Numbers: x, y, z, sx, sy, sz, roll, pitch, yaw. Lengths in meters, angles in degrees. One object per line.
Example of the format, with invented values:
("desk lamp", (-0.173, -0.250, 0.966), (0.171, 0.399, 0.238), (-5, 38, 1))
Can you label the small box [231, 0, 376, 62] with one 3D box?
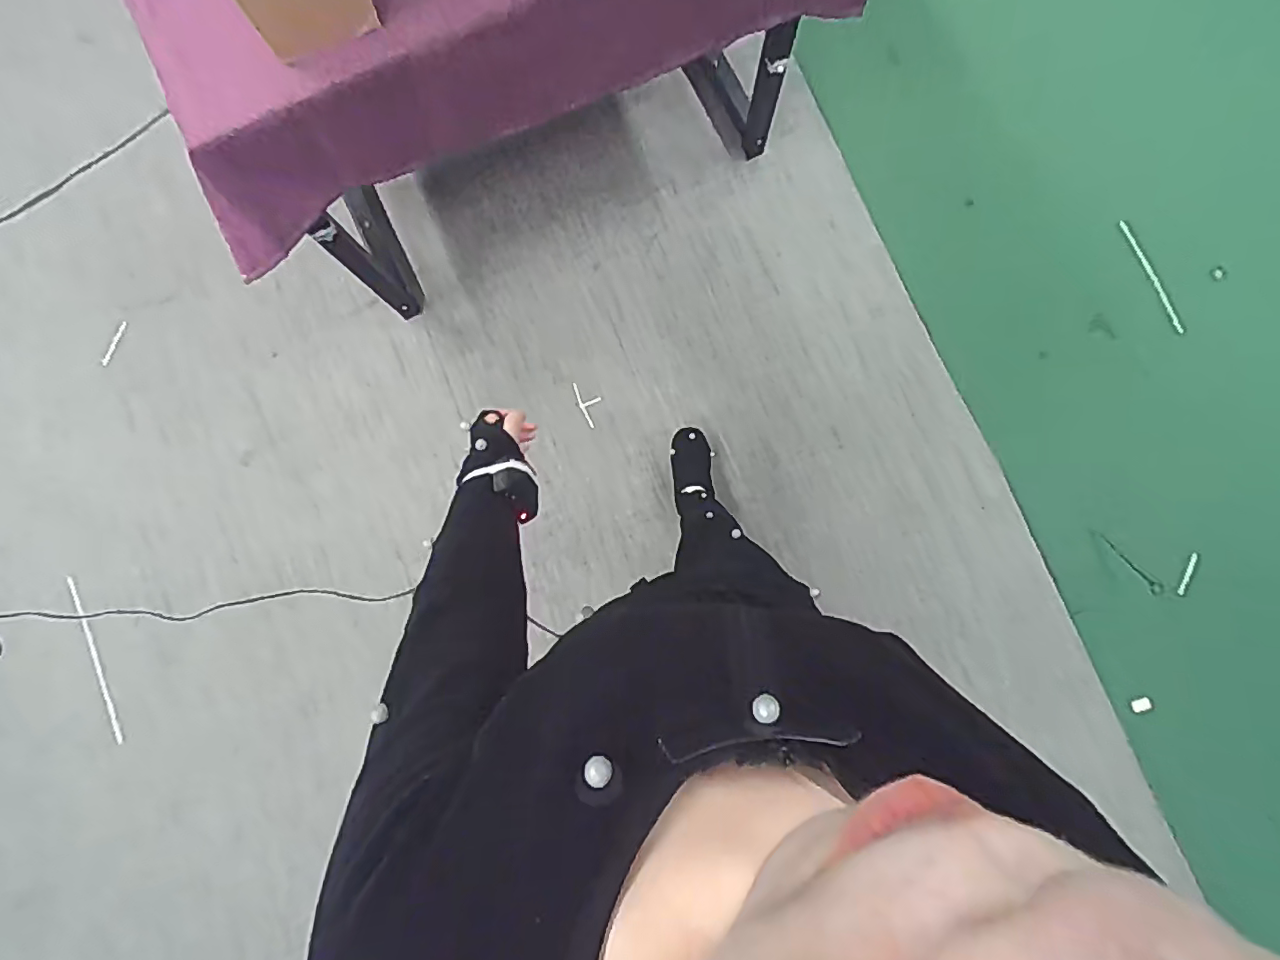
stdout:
("small box", (-0.535, -0.778, 0.802), (0.179, 0.176, 0.168), (-22, 84, -2))
